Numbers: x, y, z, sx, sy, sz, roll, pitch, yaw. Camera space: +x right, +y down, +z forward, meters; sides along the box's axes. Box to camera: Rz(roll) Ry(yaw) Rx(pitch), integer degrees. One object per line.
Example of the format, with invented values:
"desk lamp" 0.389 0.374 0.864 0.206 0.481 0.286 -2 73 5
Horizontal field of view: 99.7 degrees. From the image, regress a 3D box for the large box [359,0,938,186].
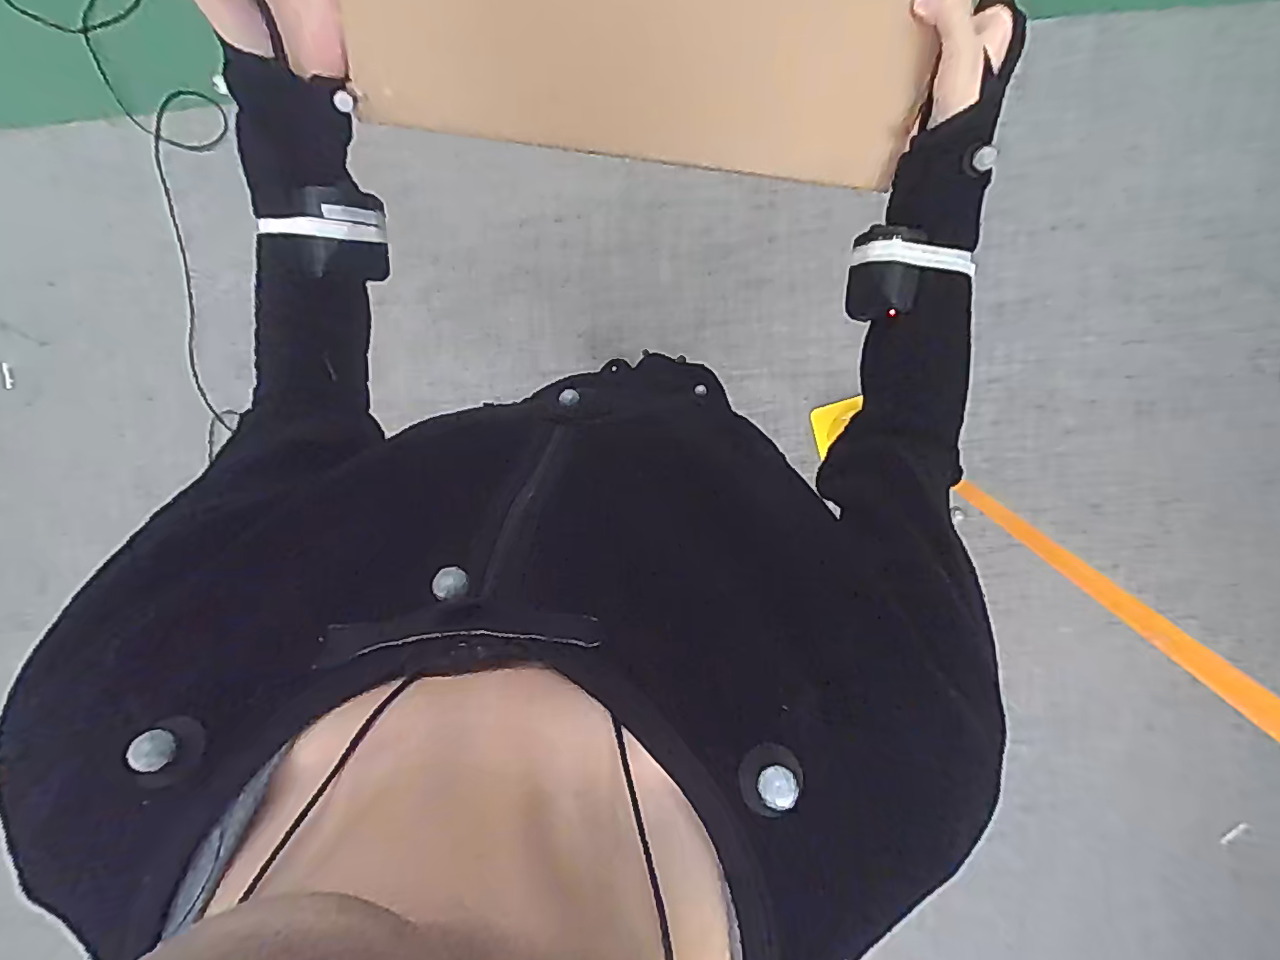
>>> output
"large box" 0.011 -0.463 0.457 0.408 0.320 0.320 4 124 -6
